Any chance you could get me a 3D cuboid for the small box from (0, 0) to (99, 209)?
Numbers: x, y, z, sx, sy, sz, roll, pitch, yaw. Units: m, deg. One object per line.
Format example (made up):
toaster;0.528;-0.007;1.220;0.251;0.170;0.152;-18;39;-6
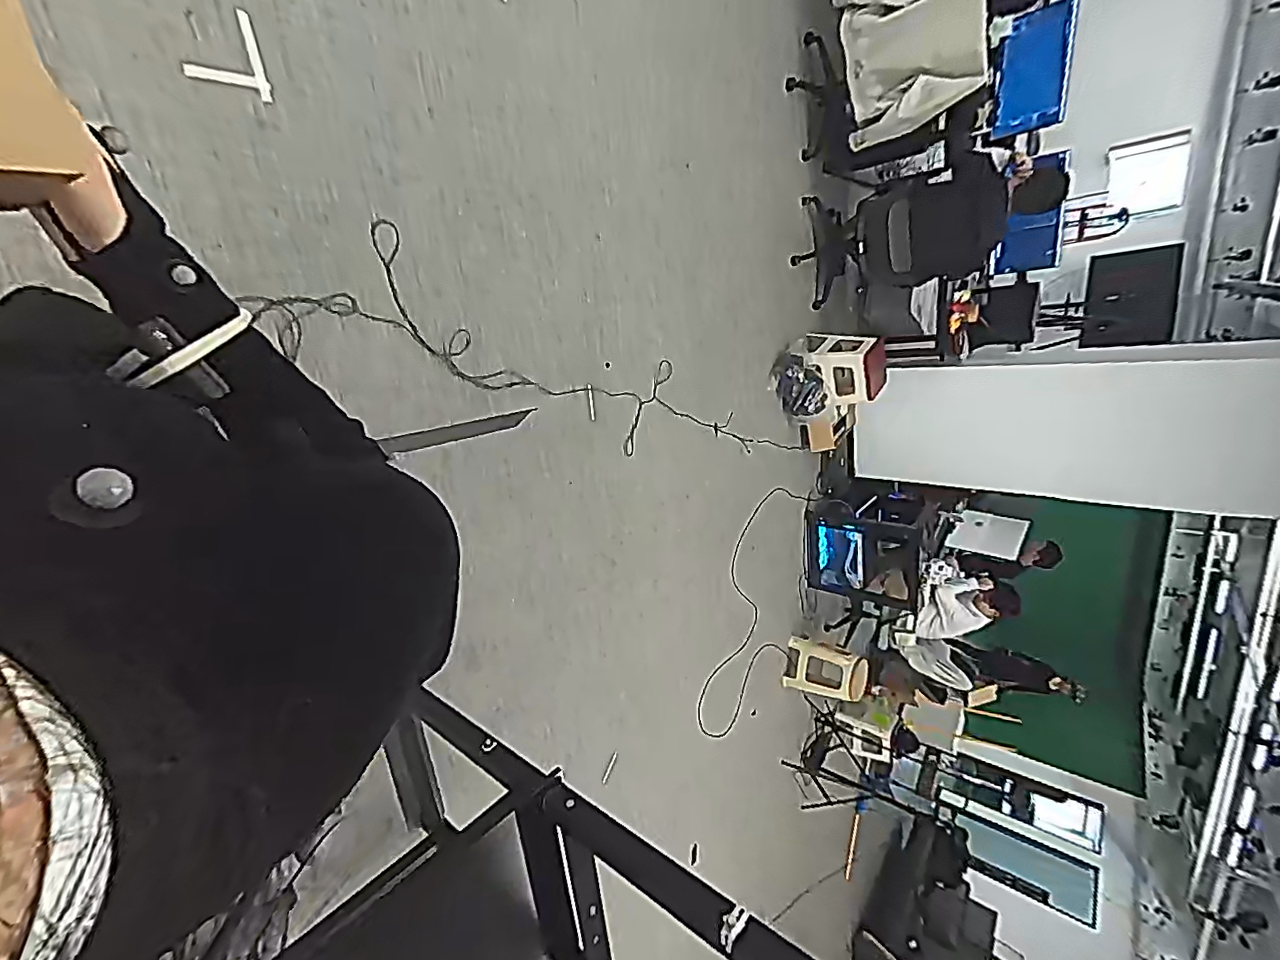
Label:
small box;-0.377;-0.203;0.208;0.179;0.176;0.168;-30;124;-49
